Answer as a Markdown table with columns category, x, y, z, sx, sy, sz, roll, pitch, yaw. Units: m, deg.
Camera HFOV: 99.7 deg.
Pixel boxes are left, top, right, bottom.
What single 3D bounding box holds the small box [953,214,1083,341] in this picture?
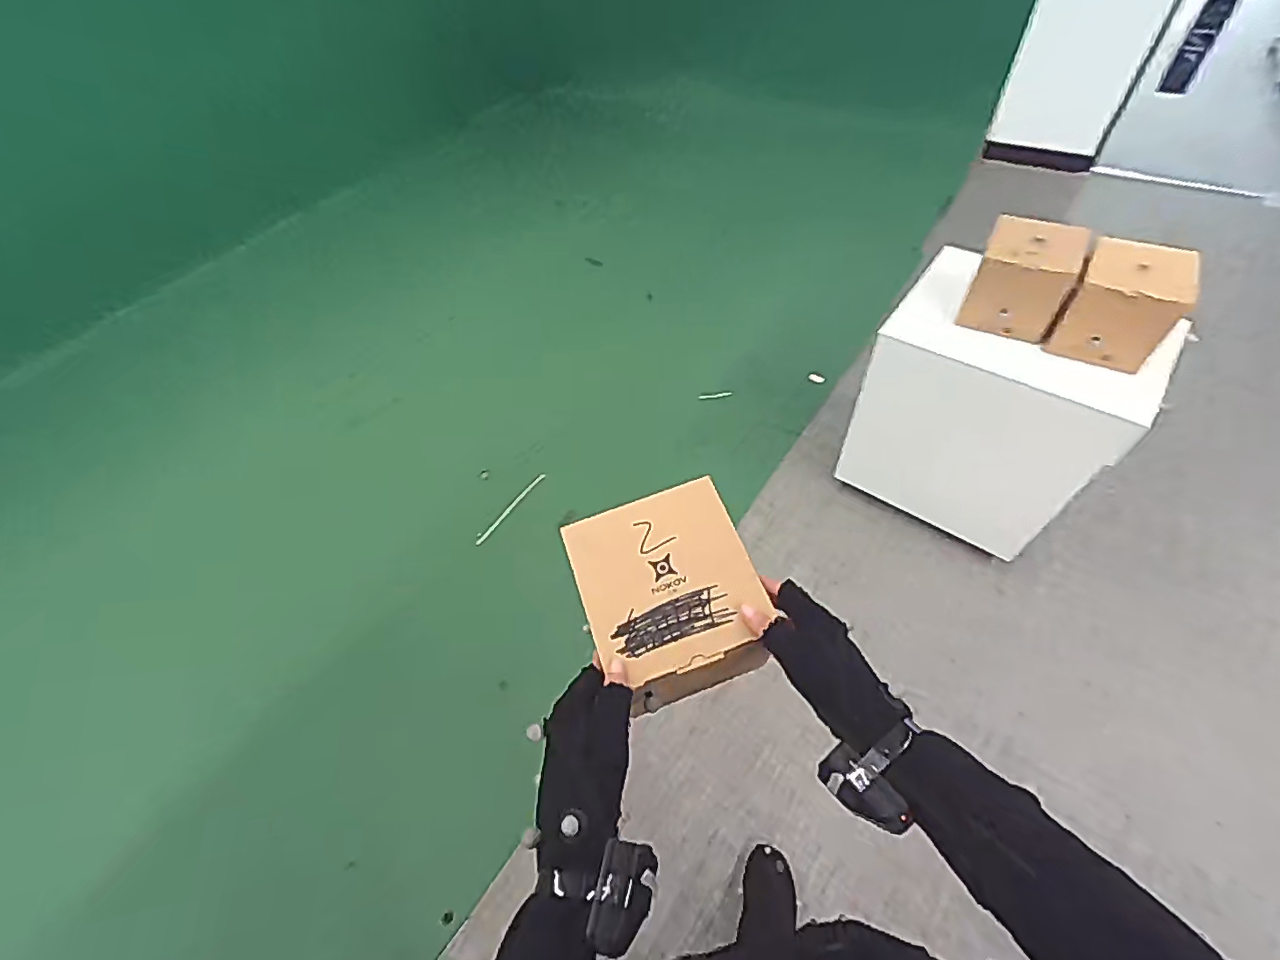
| category | x | y | z | sx | sy | sz | roll | pitch | yaw |
| --- | --- | --- | --- | --- | --- | --- | --- | --- | --- |
| small box | 0.796 | -0.429 | 1.150 | 0.168 | 0.176 | 0.179 | 22 | 60 | 22 |
